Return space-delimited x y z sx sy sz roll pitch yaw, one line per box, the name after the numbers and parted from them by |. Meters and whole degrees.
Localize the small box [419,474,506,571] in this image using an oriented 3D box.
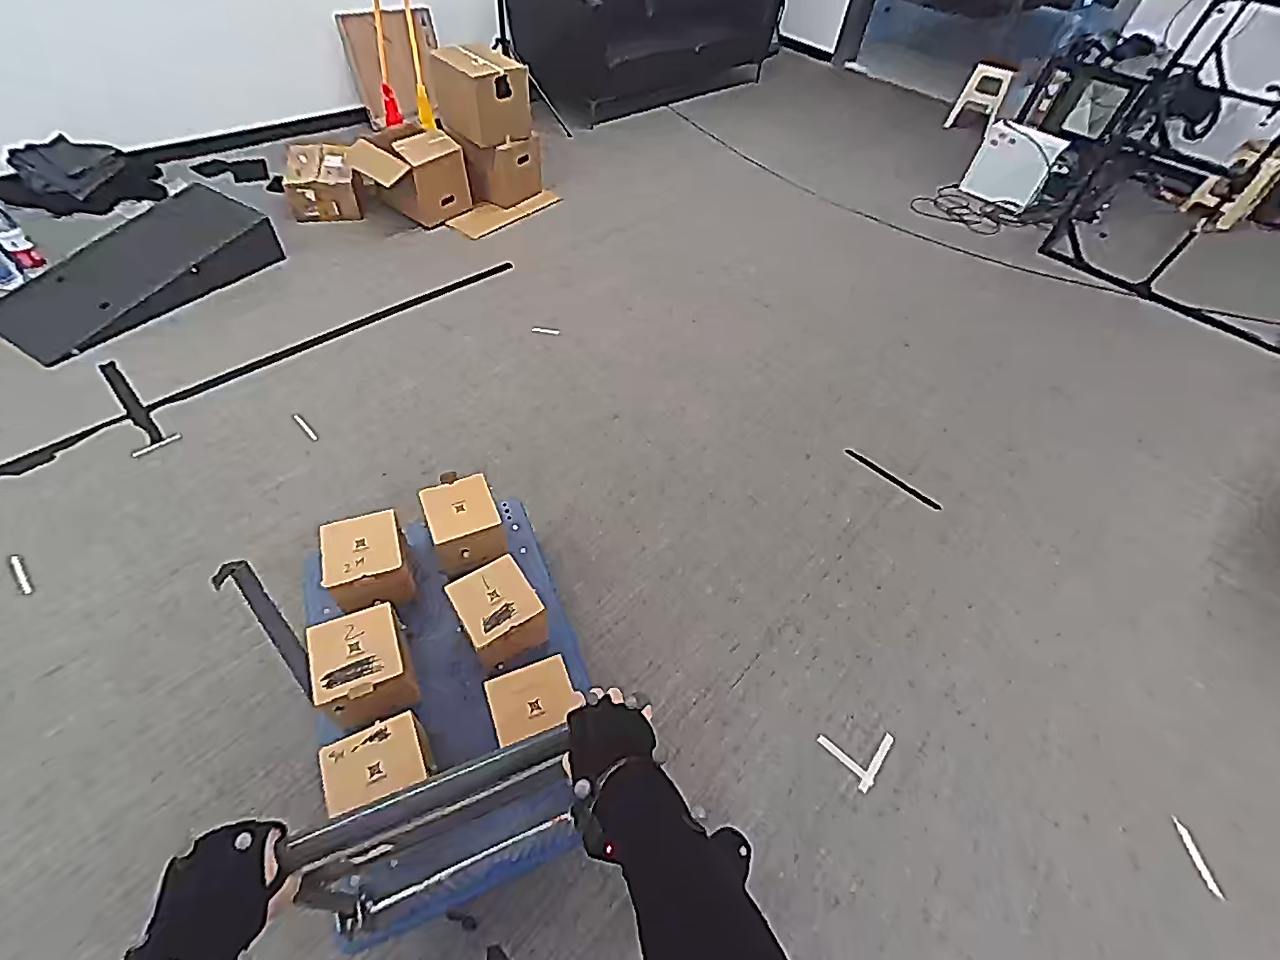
-0.459 0.118 1.415 0.168 0.176 0.179 -19 56 -21 | small box

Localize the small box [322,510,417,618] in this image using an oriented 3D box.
-0.655 0.205 1.316 0.168 0.176 0.179 -14 55 -18 | small box

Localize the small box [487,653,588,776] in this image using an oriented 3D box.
-0.215 0.502 1.142 0.168 0.176 0.179 -15 55 -20 | small box

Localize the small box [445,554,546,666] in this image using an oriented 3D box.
-0.332 0.315 1.274 0.168 0.176 0.179 -27 59 -26 | small box

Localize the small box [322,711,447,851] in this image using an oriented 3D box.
-0.482 0.581 1.037 0.168 0.176 0.179 -18 56 -22 | small box
